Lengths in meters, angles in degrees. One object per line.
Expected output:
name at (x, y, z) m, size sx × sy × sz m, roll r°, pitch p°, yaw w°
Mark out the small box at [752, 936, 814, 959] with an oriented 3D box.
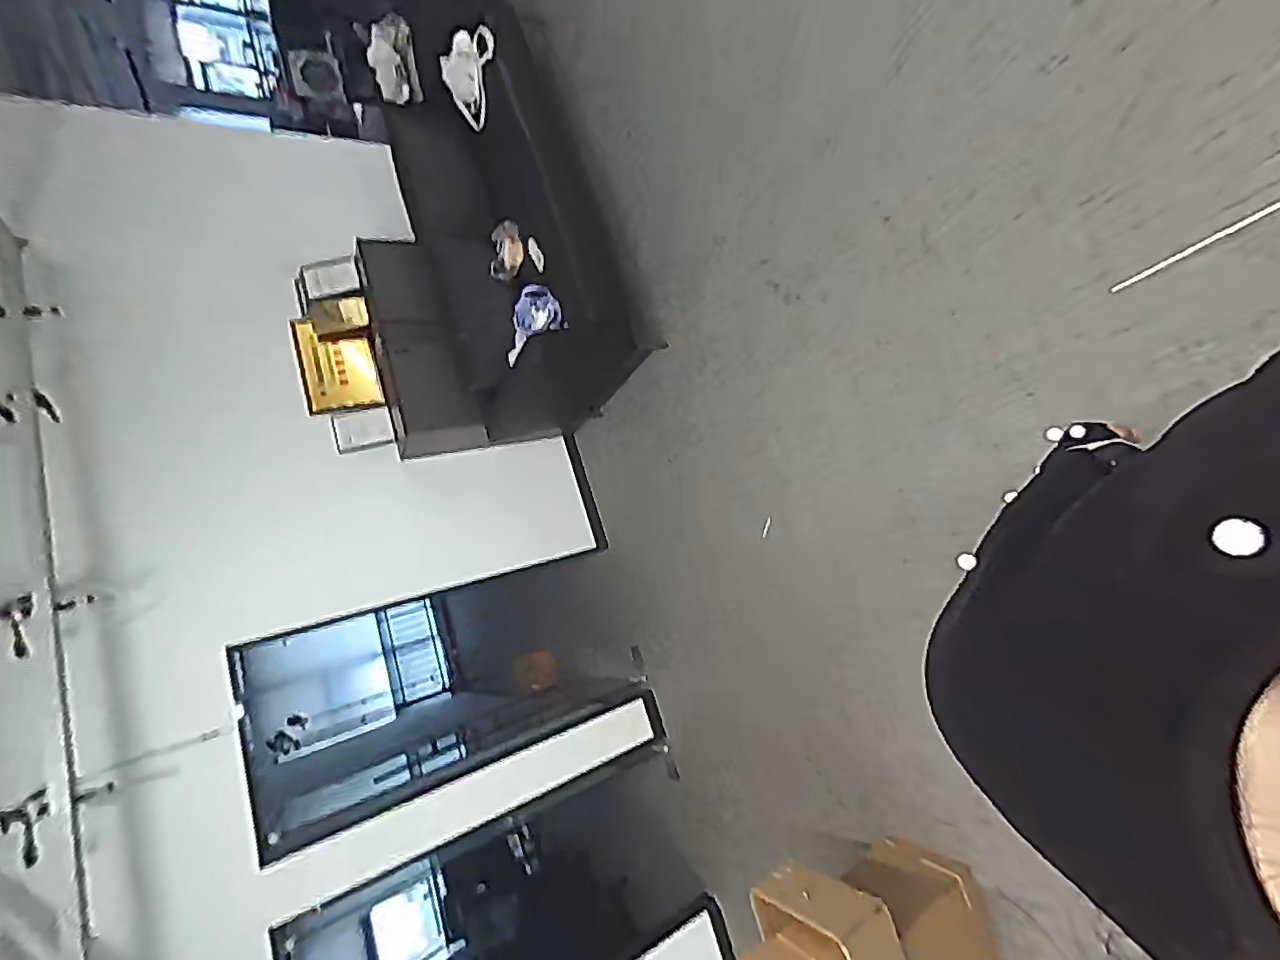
small box at (0.395, 1.388, 1.452) m, size 0.179 × 0.176 × 0.168 m, roll -28°, pitch 75°, yaw 58°
